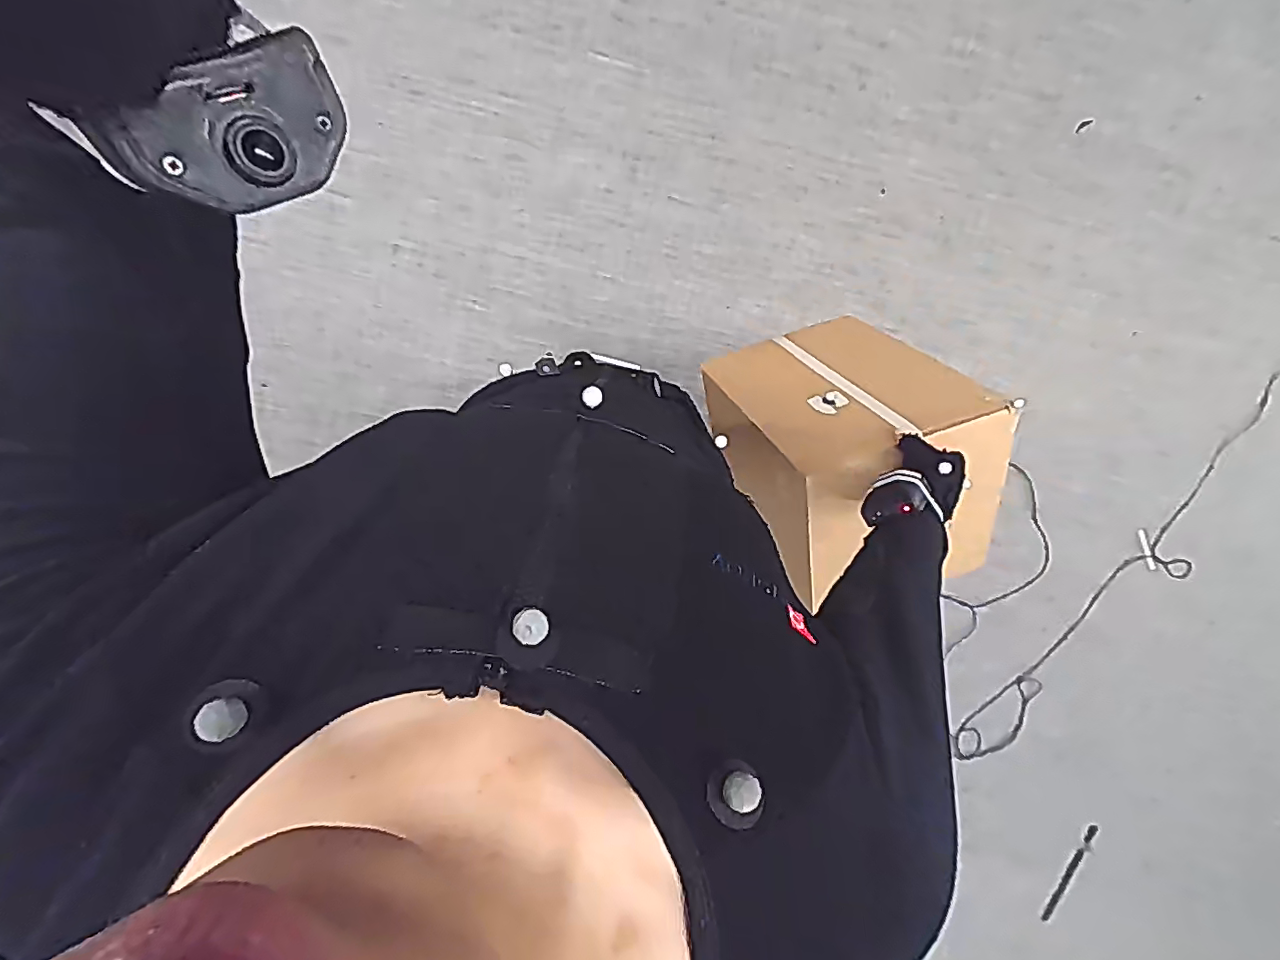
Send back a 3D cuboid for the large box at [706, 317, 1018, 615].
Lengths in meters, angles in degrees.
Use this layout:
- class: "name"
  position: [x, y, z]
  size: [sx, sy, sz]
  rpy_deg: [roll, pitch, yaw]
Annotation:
- class: "large box"
  position: [0.343, -0.044, 0.957]
  size: [0.320, 0.408, 0.320]
  rpy_deg: [-18, 127, -4]
